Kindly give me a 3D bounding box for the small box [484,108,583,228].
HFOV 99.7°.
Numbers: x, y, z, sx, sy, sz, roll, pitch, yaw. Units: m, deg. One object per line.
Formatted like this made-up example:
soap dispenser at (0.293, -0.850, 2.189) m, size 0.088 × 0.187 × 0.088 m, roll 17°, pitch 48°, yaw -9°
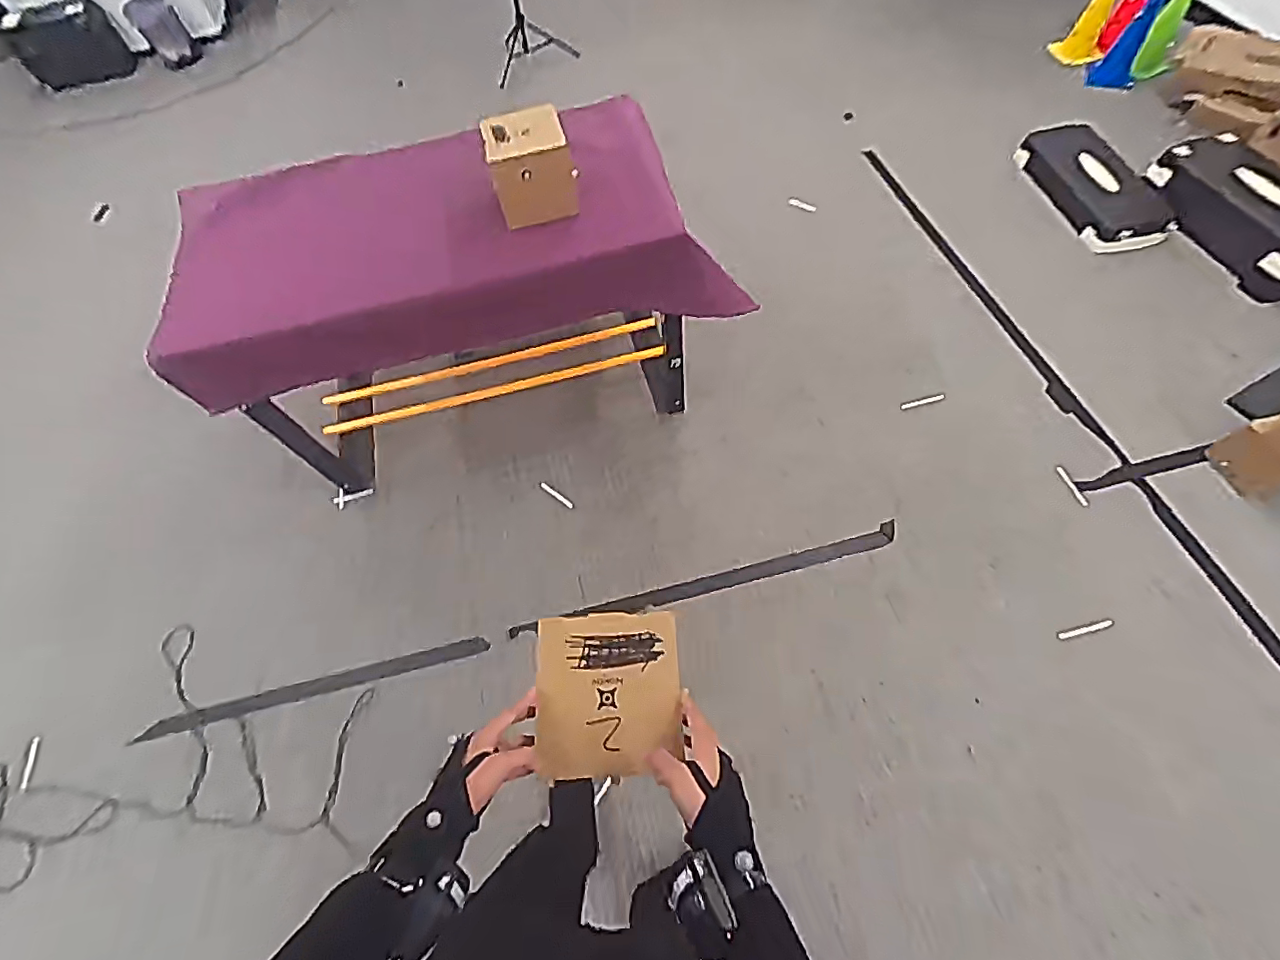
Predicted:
small box at (-0.243, -0.716, 1.253) m, size 0.179 × 0.176 × 0.168 m, roll -15°, pitch 62°, yaw -3°
